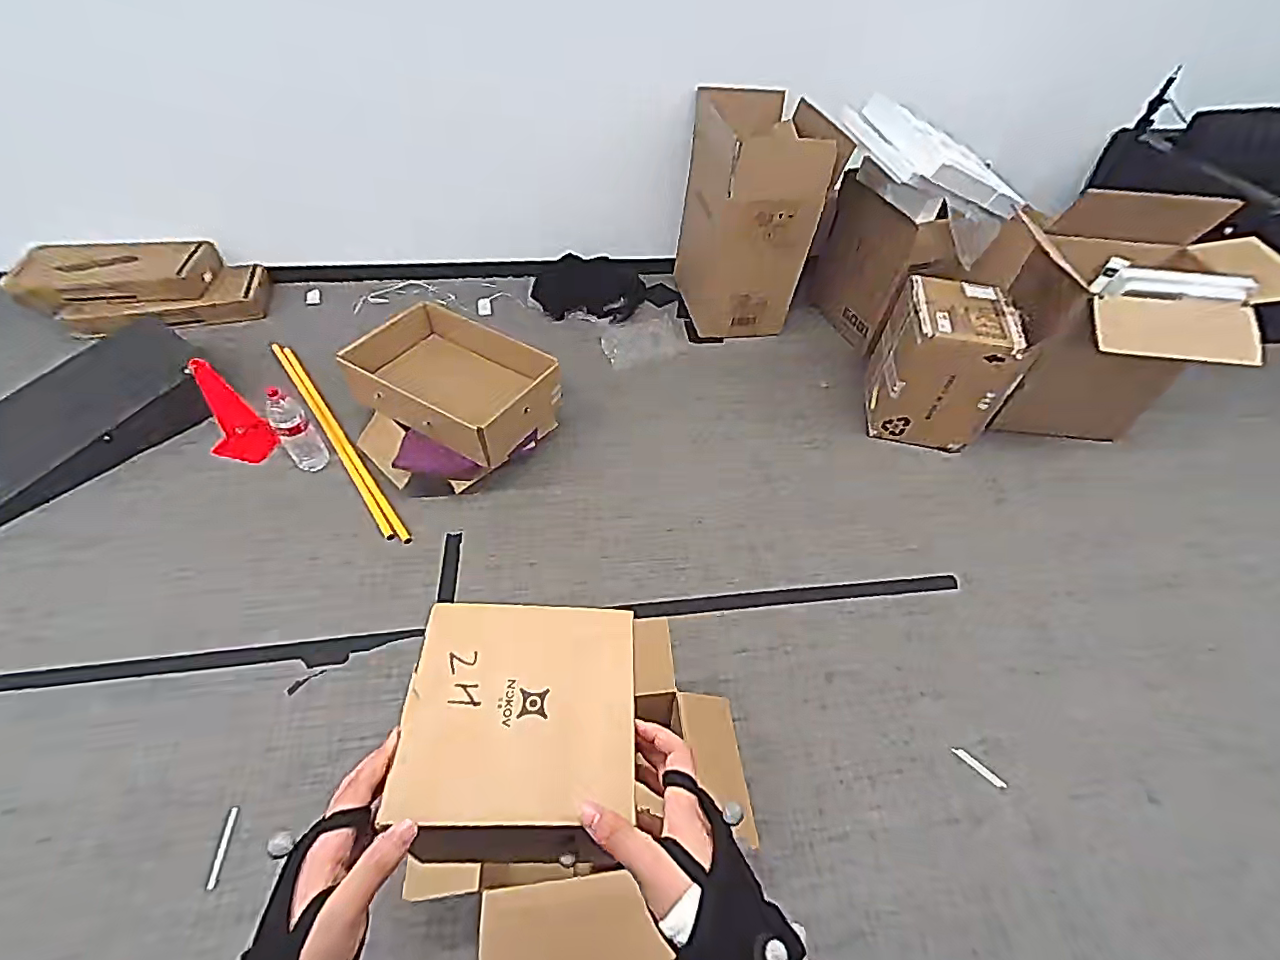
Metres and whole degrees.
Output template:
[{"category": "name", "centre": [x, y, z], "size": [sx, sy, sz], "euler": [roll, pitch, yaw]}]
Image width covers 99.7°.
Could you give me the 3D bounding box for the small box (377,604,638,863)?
[{"category": "small box", "centre": [-0.097, 0.226, 0.477], "size": [0.179, 0.176, 0.168], "euler": [3, 48, -4]}]
